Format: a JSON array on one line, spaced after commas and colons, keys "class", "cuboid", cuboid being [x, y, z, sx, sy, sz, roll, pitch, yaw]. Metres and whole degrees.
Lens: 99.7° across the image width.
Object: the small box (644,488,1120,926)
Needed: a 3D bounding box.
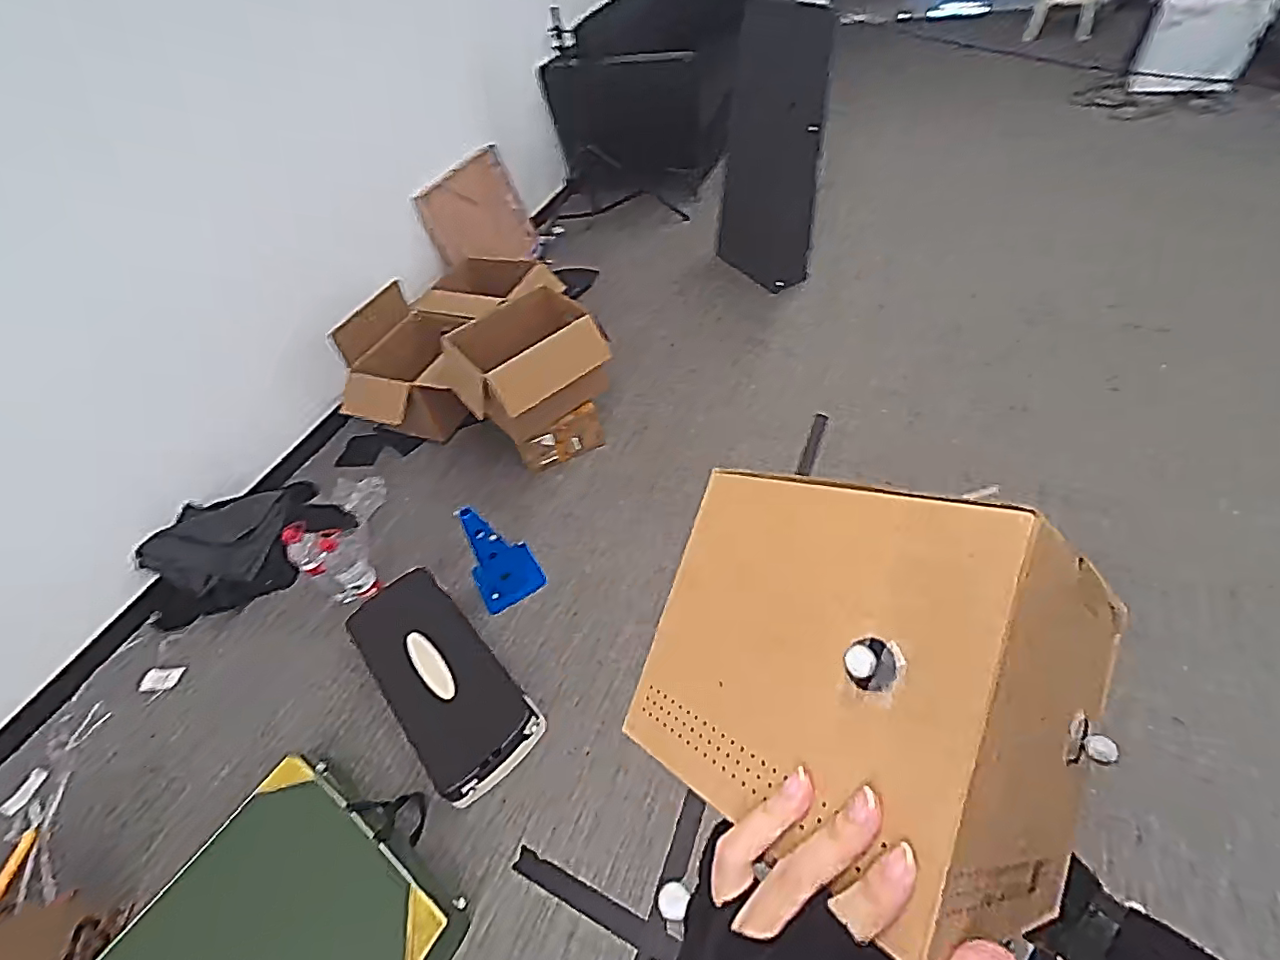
[{"class": "small box", "cuboid": [0.132, 0.118, 0.317, 0.179, 0.168, 0.176, 9, 76, 55]}]
